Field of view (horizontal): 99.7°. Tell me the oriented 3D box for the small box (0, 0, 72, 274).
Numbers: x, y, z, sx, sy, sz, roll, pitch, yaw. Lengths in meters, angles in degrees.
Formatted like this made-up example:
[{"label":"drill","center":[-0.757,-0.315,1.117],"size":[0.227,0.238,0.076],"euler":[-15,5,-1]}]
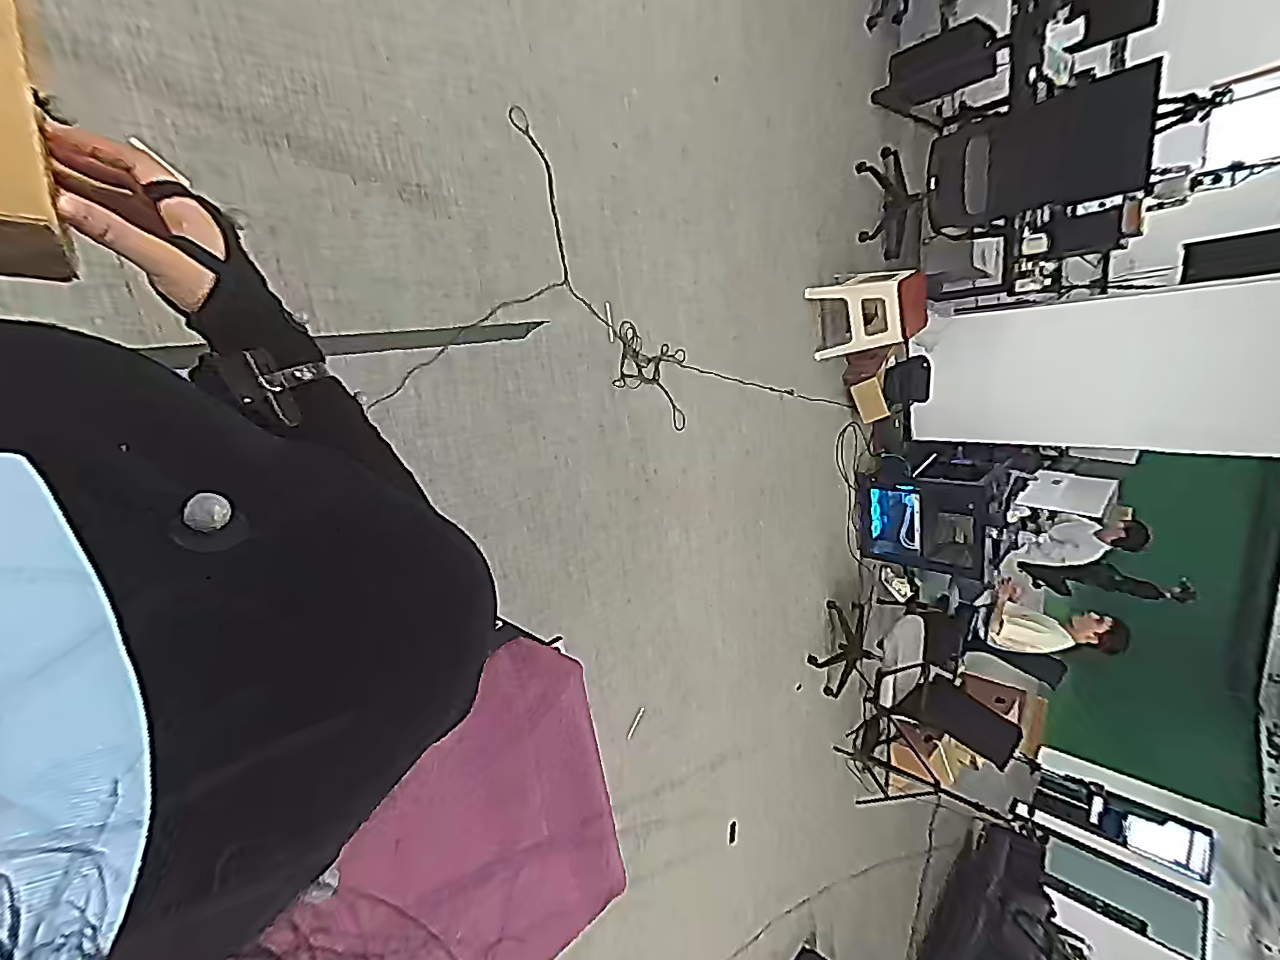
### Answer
[{"label":"small box","center":[-0.450,-0.230,0.301],"size":[0.168,0.176,0.179],"euler":[-10,102,-43]}]
